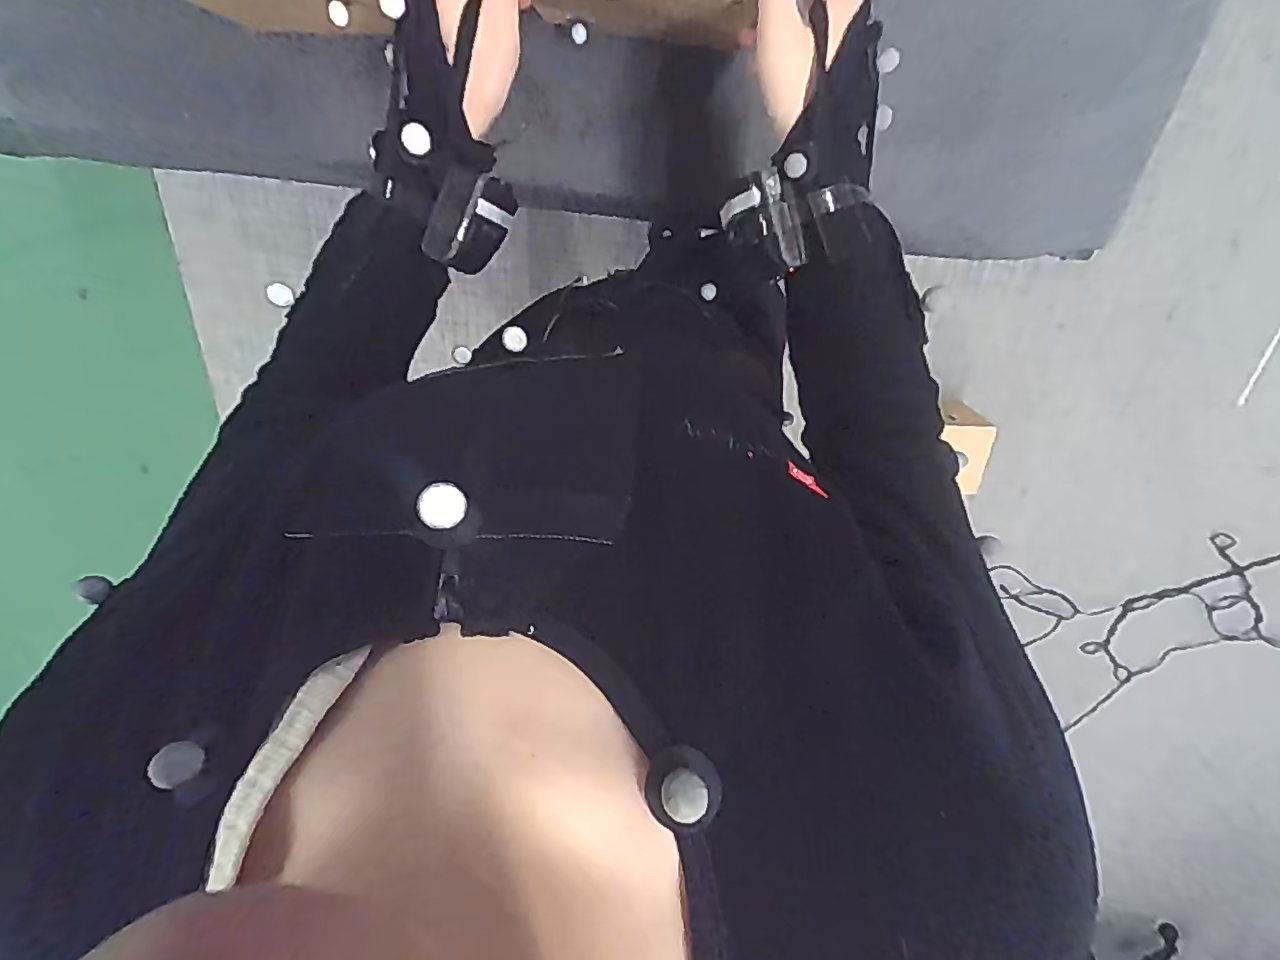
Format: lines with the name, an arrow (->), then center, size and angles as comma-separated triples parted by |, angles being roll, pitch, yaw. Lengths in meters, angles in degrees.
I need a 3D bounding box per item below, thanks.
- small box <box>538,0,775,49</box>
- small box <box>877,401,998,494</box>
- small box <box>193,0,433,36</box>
small box -> 0.012, -0.391, 0.328 | 0.168, 0.176, 0.179 | 7, 120, -2
small box -> 0.679, -0.080, 1.257 | 0.179, 0.176, 0.168 | 3, 116, 5
small box -> -0.257, -0.431, 0.367 | 0.179, 0.176, 0.168 | 4, 115, 4
